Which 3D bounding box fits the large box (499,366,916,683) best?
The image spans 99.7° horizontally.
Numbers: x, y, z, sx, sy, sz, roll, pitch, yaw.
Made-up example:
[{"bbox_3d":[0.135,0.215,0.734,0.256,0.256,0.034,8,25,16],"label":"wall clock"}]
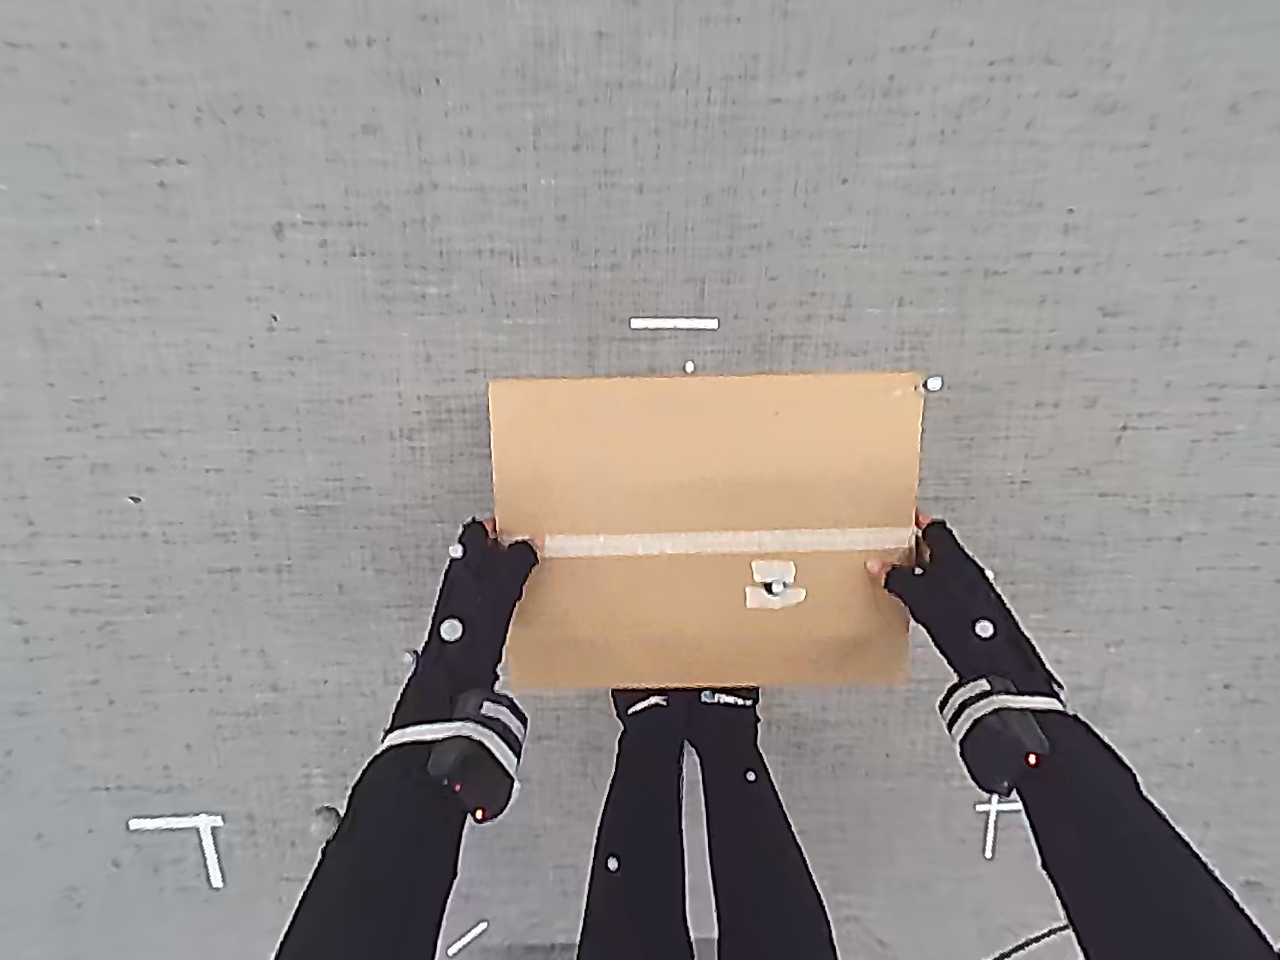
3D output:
[{"bbox_3d":[0.067,0.027,0.683,0.408,0.320,0.320,-2,101,0],"label":"large box"}]
